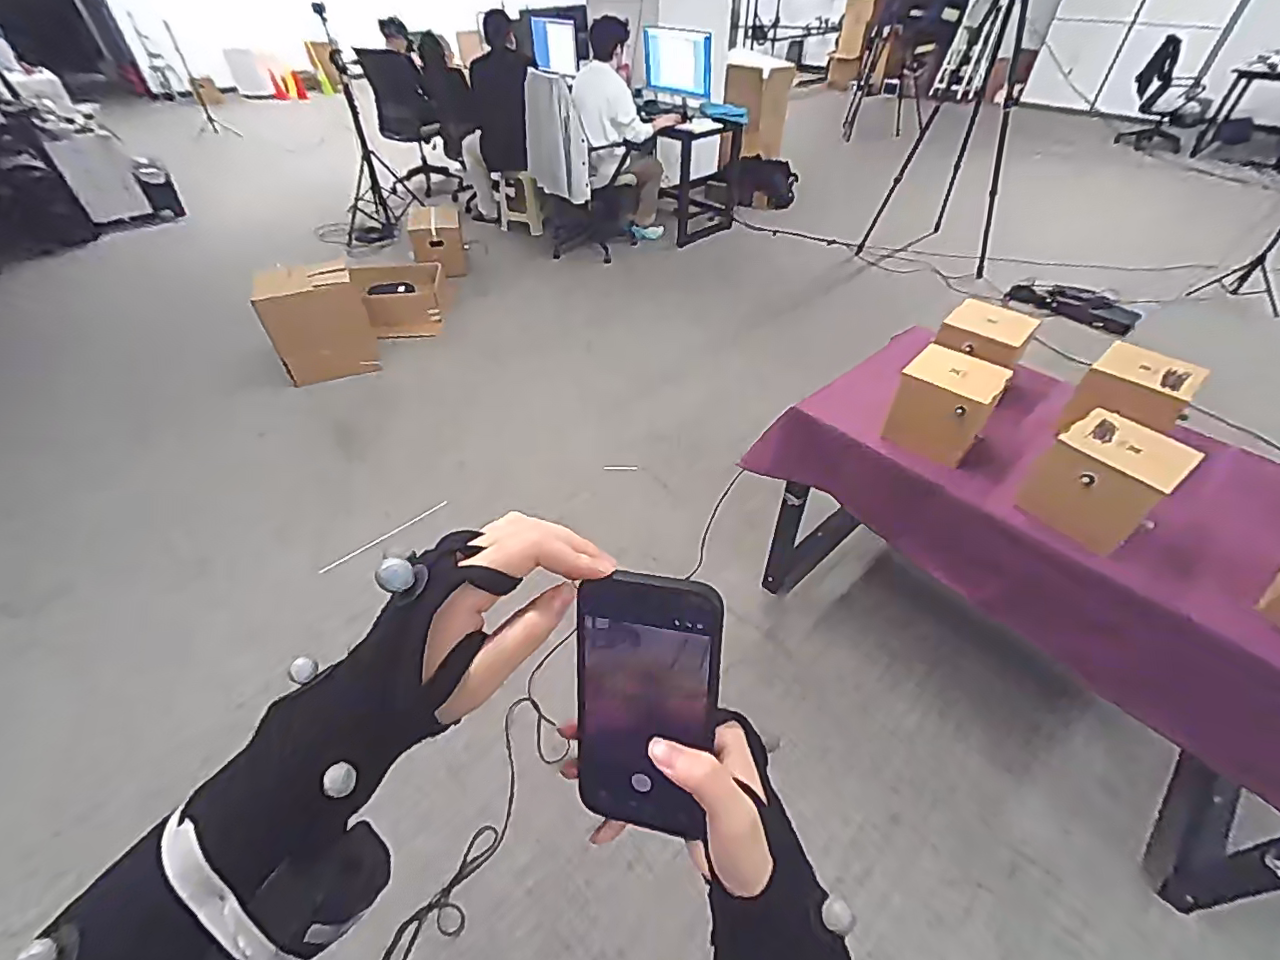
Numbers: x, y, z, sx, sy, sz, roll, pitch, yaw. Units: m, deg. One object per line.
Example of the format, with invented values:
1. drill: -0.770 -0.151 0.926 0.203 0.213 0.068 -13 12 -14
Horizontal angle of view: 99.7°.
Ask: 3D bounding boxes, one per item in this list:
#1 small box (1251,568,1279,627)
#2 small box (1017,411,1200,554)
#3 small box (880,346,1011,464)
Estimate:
1. small box: 1.130 0.179 0.828 0.168 0.176 0.179 -25 49 -25
2. small box: 0.859 0.004 1.011 0.168 0.176 0.179 -26 50 -25
3. small box: 0.661 -0.164 1.187 0.179 0.176 0.168 33 52 28
